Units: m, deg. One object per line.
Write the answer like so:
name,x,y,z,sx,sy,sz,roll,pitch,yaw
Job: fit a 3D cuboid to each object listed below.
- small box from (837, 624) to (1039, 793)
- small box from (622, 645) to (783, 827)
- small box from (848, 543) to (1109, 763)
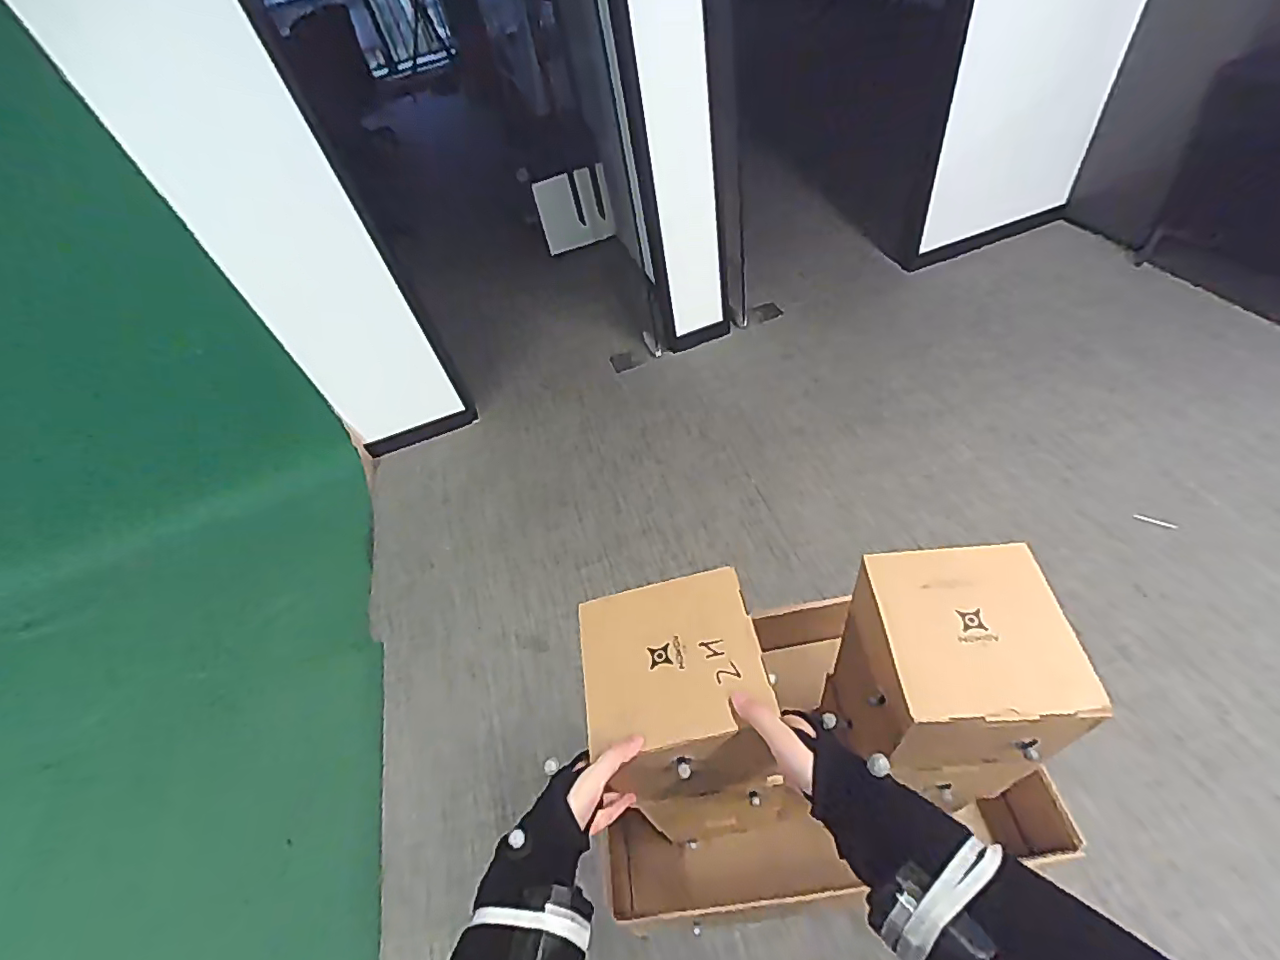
small box,0.361,0.295,0.697,0.168,0.176,0.179,-7,50,8
small box,0.084,0.347,0.725,0.179,0.176,0.168,-12,48,2
small box,0.330,0.191,0.575,0.168,0.176,0.179,-6,48,8
